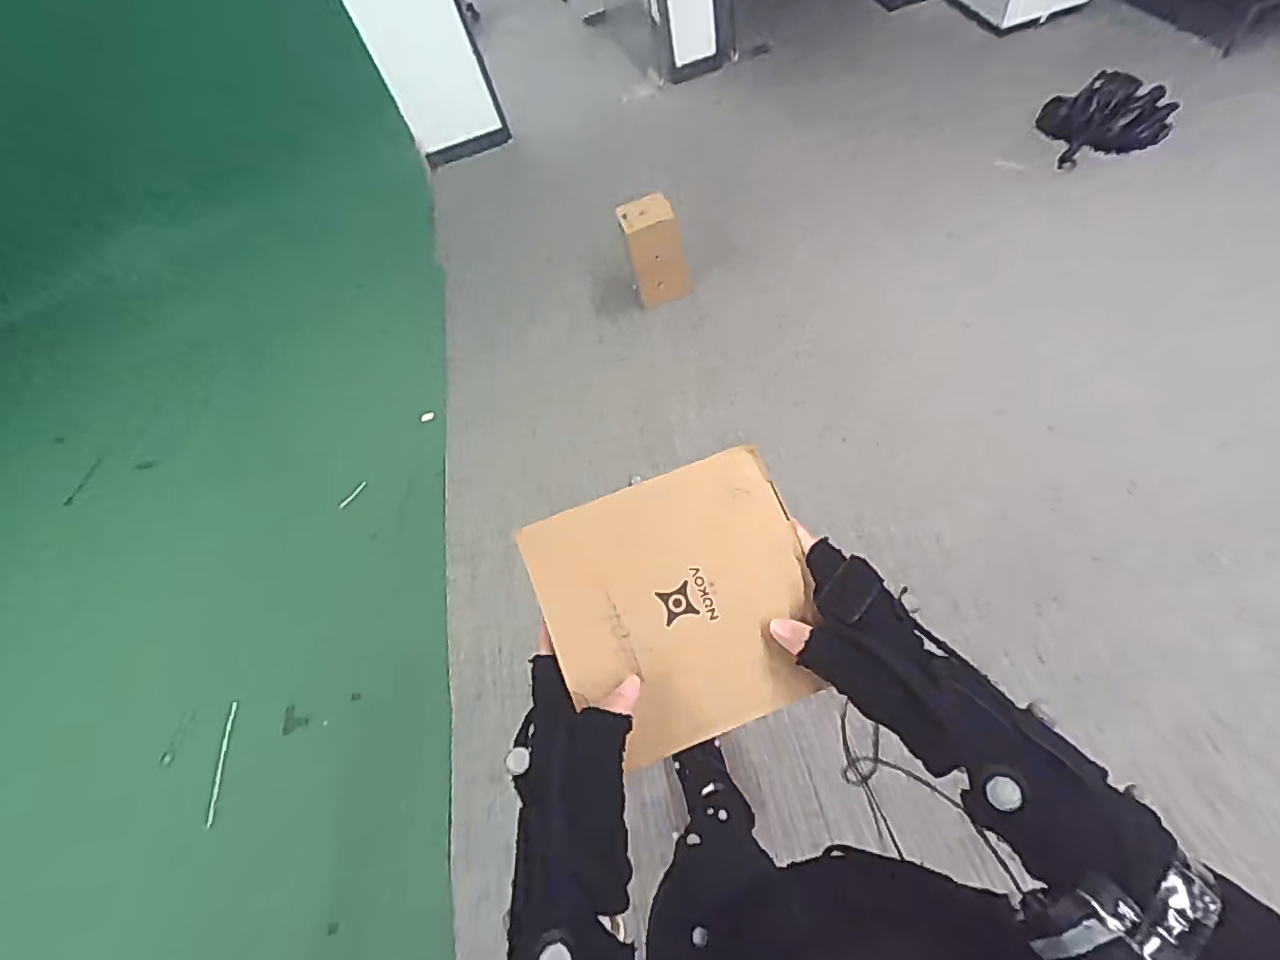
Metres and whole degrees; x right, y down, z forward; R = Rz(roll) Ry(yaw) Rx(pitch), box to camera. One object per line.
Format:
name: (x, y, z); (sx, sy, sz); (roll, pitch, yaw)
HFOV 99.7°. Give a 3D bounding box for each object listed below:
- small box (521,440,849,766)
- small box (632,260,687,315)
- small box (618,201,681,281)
small box: (0.027, 0.091, 0.433); (0.179, 0.176, 0.168); (-22, 77, -4)
small box: (0.074, -0.755, 2.036); (0.179, 0.176, 0.168); (-18, 56, 4)
small box: (0.040, -0.837, 1.898); (0.179, 0.176, 0.168); (-19, 57, 1)
